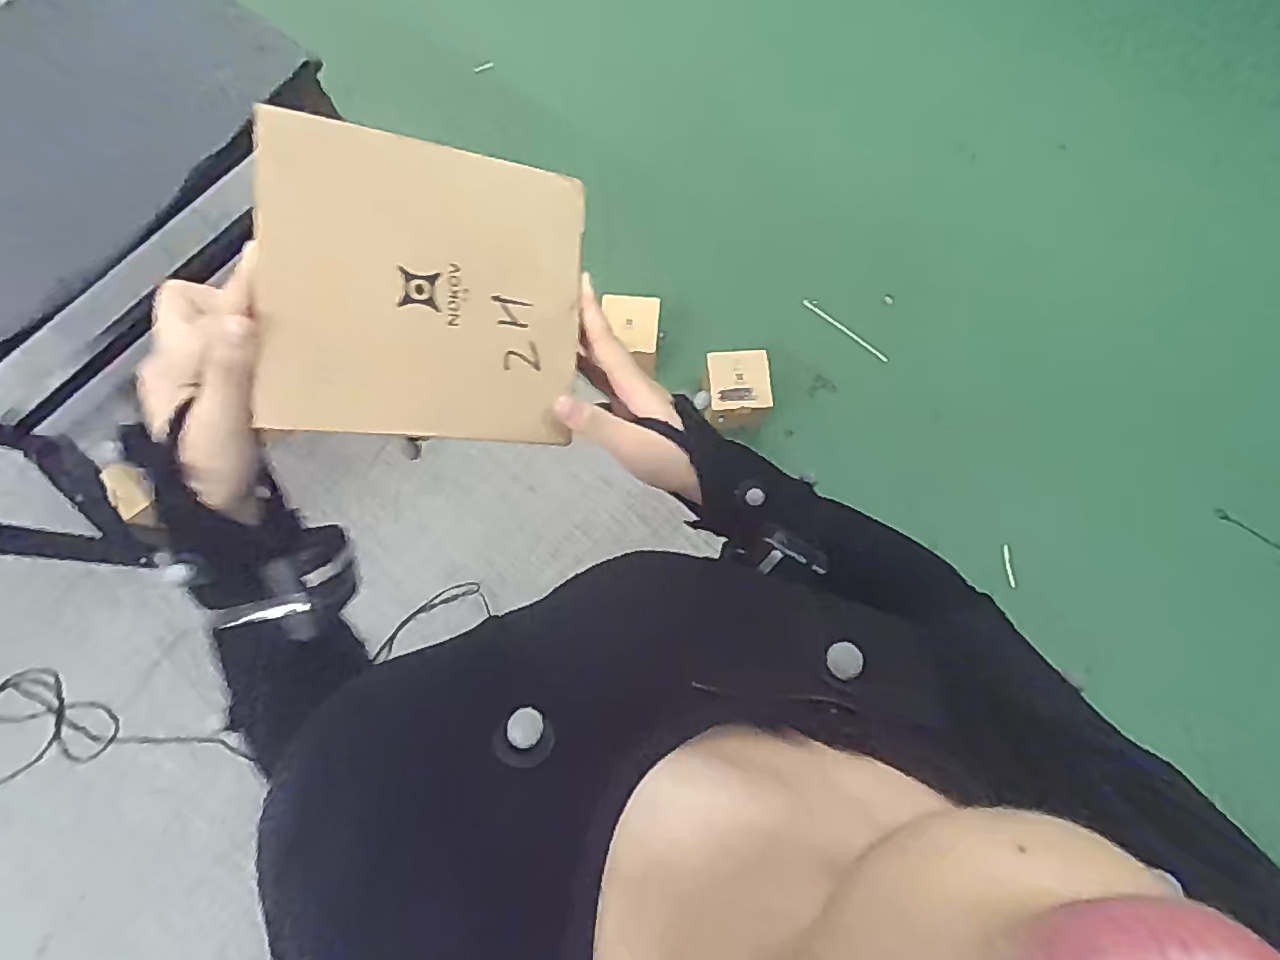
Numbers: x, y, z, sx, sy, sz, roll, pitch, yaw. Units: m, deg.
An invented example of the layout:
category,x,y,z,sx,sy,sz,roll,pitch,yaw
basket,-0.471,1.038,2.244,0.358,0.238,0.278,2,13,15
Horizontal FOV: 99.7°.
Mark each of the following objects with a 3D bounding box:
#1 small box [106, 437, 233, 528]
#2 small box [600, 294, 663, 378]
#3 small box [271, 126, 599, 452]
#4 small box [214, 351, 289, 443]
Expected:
category,x,y,z,sx,sy,sz,roll,pitch,yaw
small box,-1.297,0.016,1.502,0.179,0.176,0.168,-37,78,-7
small box,-0.022,-0.419,1.589,0.168,0.176,0.179,4,77,2
small box,-0.139,-0.107,0.387,0.179,0.176,0.168,1,95,-21
small box,-1.063,-0.234,1.560,0.179,0.176,0.168,-29,76,-5
